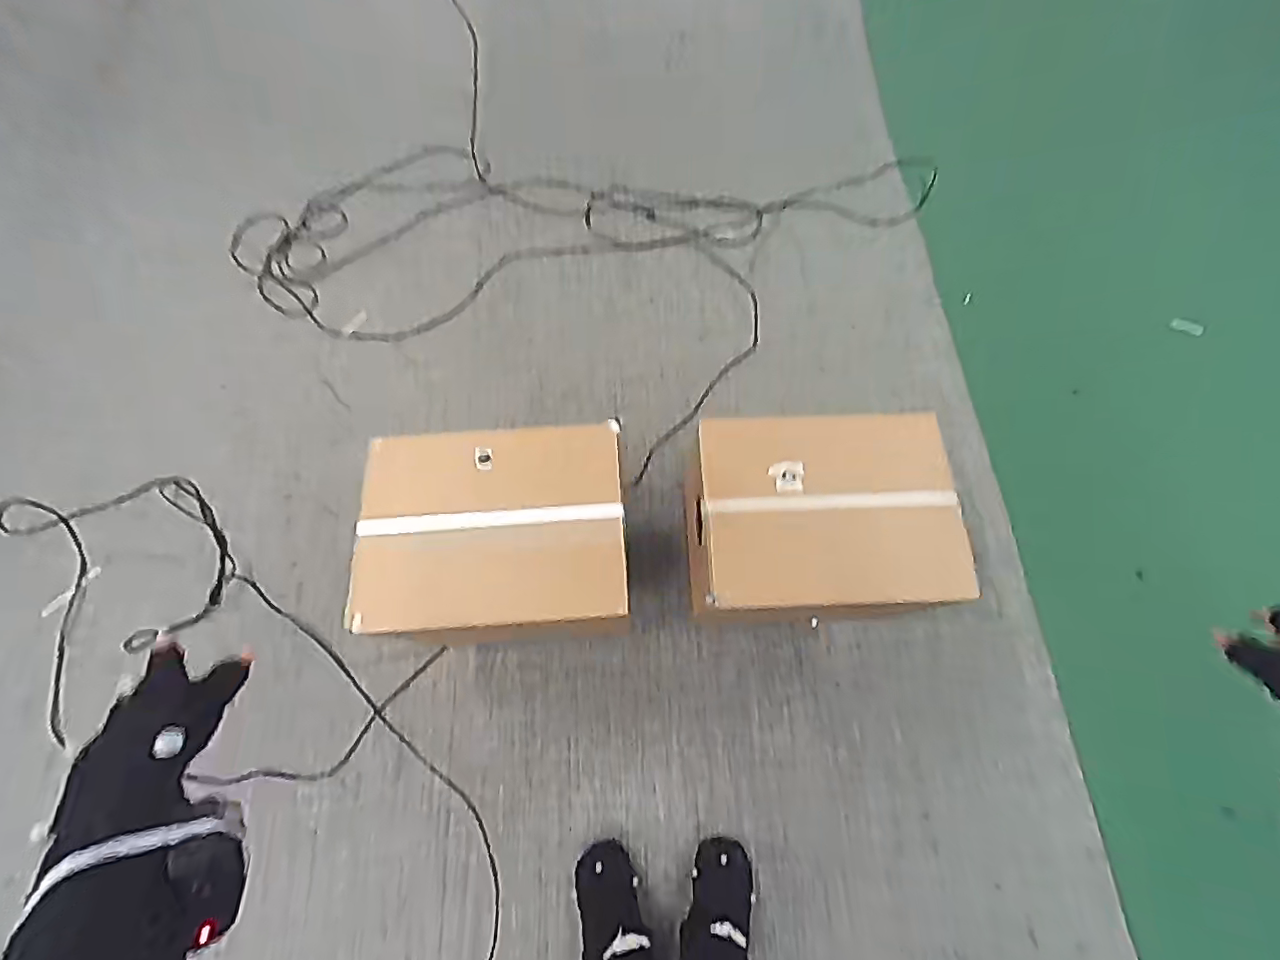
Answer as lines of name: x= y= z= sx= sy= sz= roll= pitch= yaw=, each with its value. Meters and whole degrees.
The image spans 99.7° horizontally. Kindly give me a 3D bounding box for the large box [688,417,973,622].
large box: x=0.310 y=0.092 z=1.011 sx=0.408 sy=0.320 sz=0.320 roll=-1 pitch=70 yaw=-1
